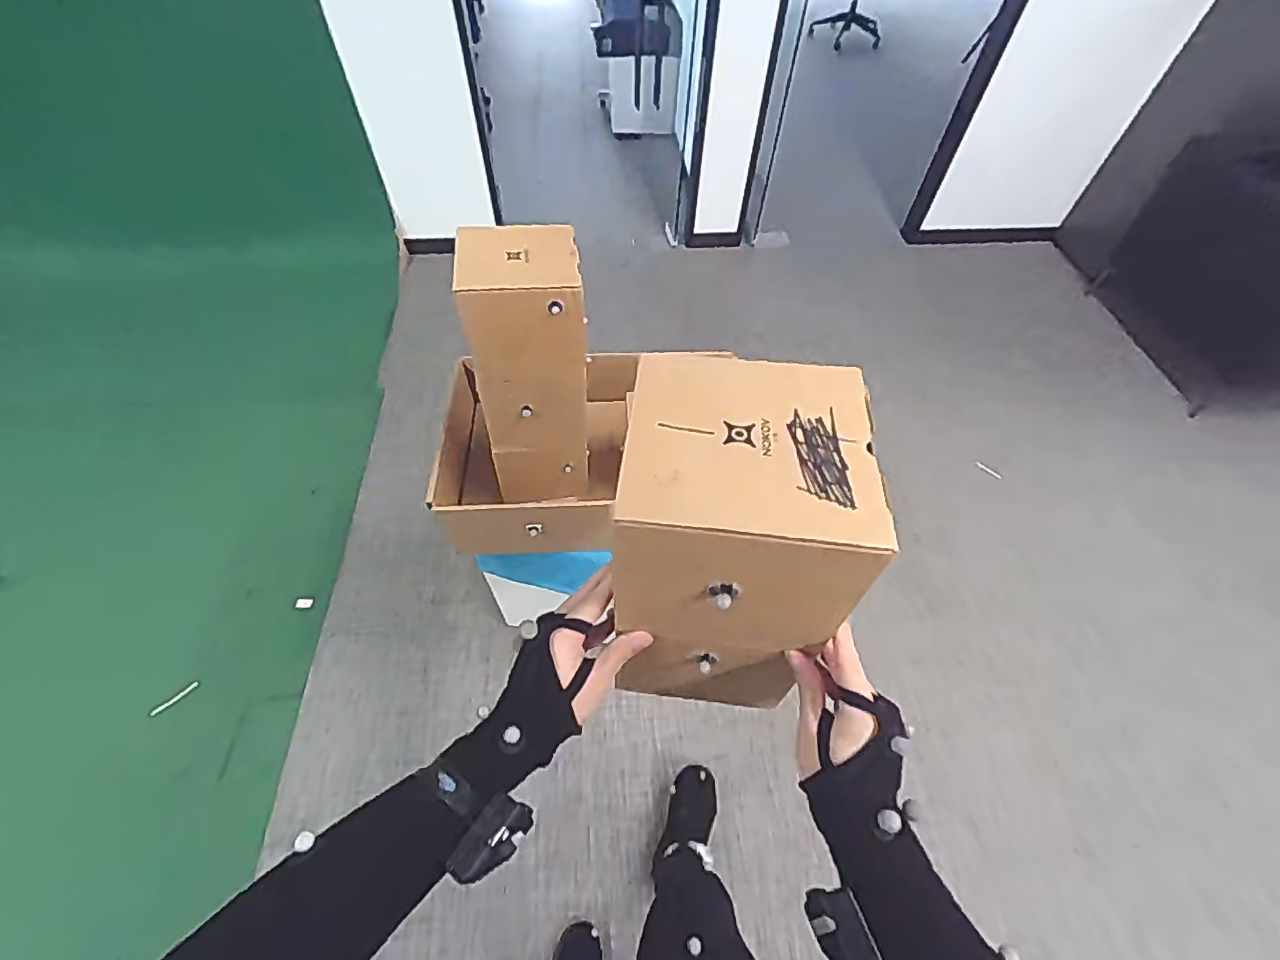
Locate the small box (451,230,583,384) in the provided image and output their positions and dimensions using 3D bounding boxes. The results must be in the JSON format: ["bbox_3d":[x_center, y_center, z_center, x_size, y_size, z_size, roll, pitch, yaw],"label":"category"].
[{"bbox_3d":[-0.184,-0.264,0.841,0.179,0.176,0.168,-5,53,-9],"label":"small box"}]

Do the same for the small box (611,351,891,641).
[{"bbox_3d":[0.075,0.019,0.444,0.179,0.176,0.168,6,51,3],"label":"small box"}]

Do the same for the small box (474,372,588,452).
[{"bbox_3d":[-0.190,-0.165,0.970,0.179,0.176,0.168,-5,54,-7],"label":"small box"}]

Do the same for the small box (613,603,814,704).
[{"bbox_3d":[0.070,0.122,0.571,0.179,0.176,0.168,7,51,3],"label":"small box"}]
